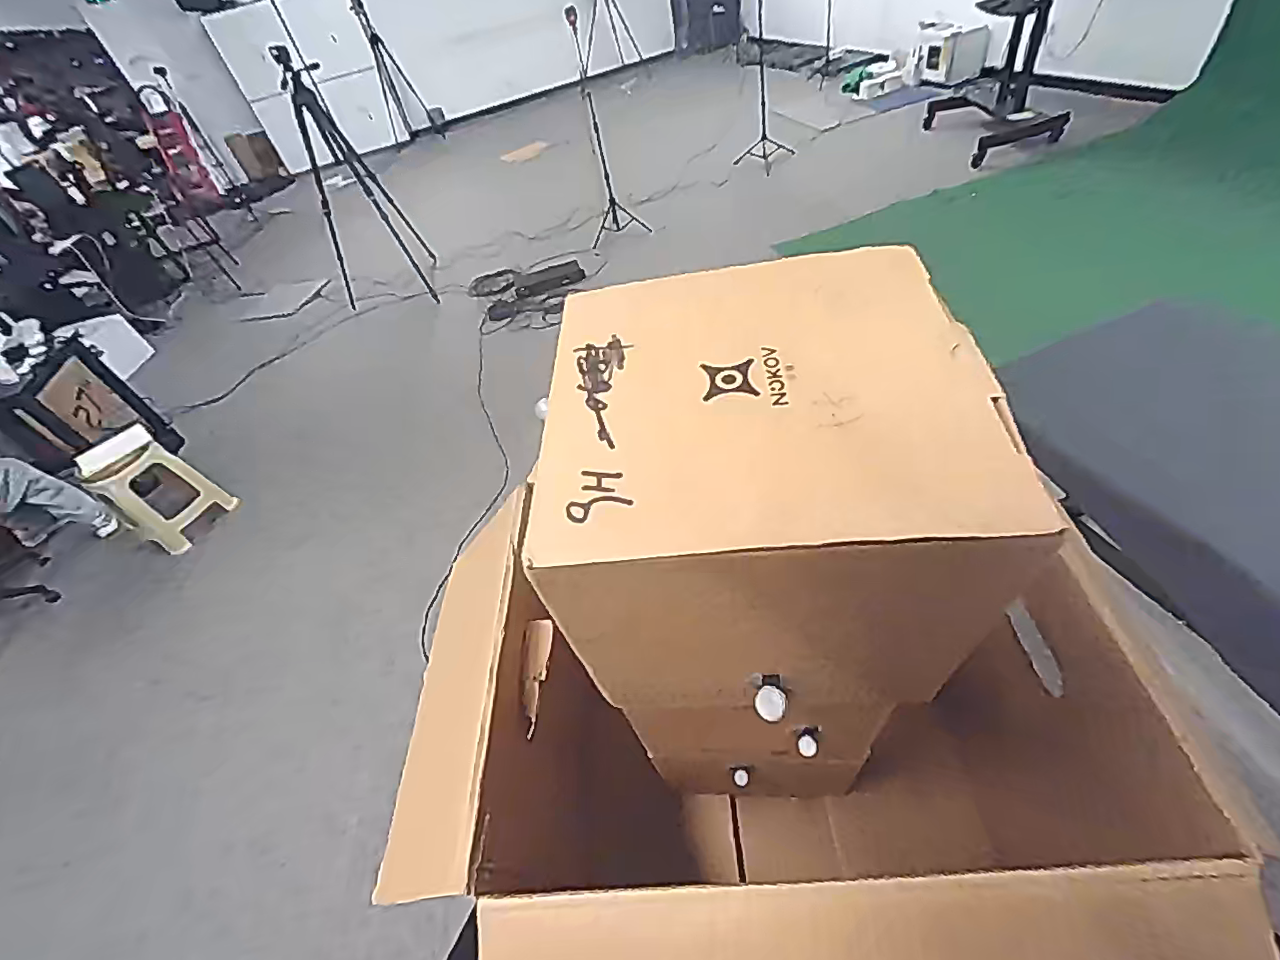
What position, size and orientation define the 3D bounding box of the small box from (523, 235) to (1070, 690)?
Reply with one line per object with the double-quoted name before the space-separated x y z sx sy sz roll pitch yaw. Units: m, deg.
"small box" 0.058 0.001 0.283 0.179 0.176 0.168 -4 51 7
